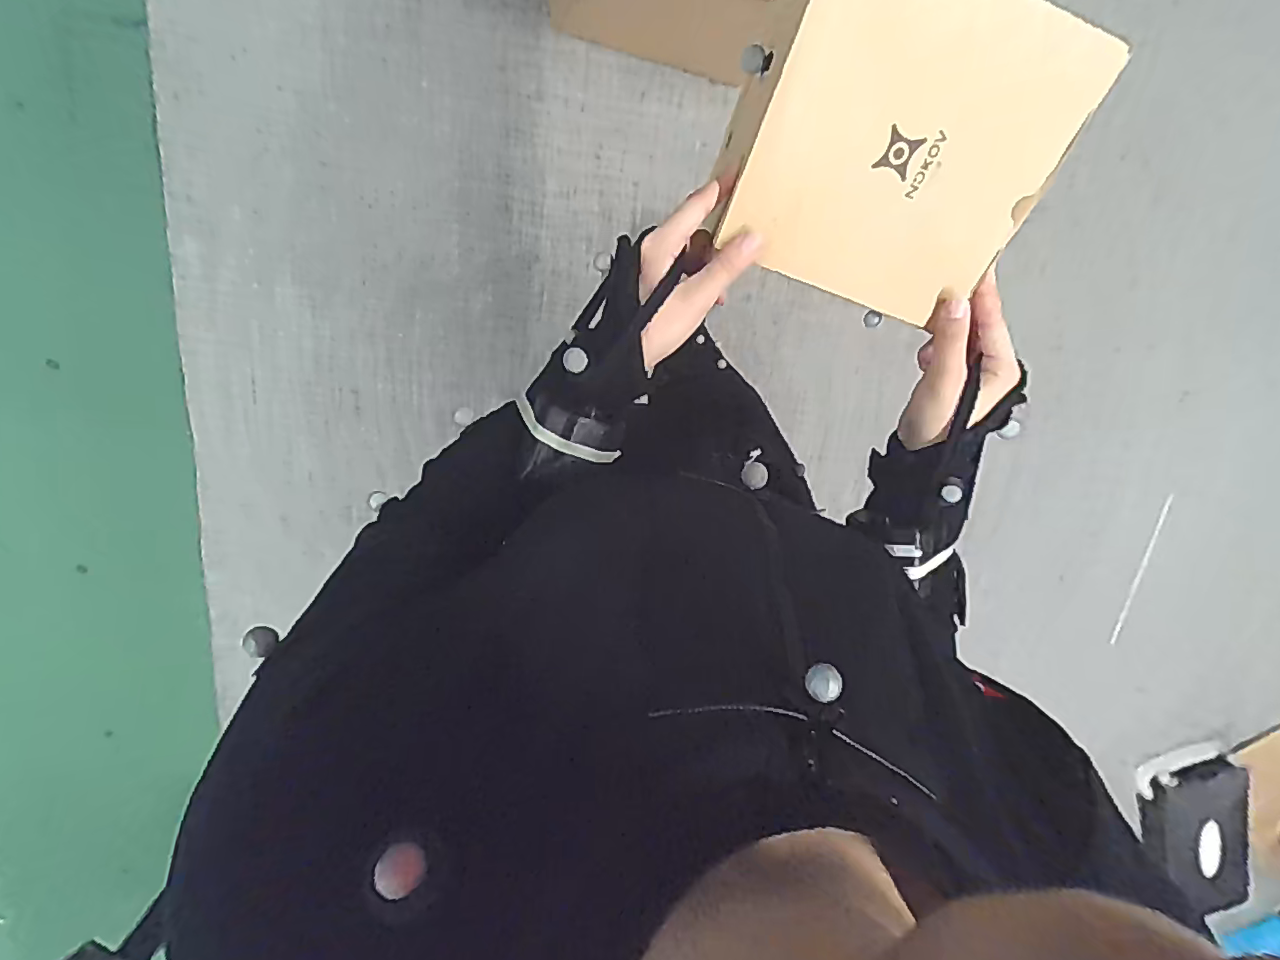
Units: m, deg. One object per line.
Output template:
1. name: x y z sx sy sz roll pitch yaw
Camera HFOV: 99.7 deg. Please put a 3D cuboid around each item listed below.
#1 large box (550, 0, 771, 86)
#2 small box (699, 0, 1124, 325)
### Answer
1. large box: 0.062 -0.956 0.926 0.408 0.320 0.320 10 106 -9
2. small box: 0.151 -0.234 0.380 0.179 0.176 0.168 15 121 -10
